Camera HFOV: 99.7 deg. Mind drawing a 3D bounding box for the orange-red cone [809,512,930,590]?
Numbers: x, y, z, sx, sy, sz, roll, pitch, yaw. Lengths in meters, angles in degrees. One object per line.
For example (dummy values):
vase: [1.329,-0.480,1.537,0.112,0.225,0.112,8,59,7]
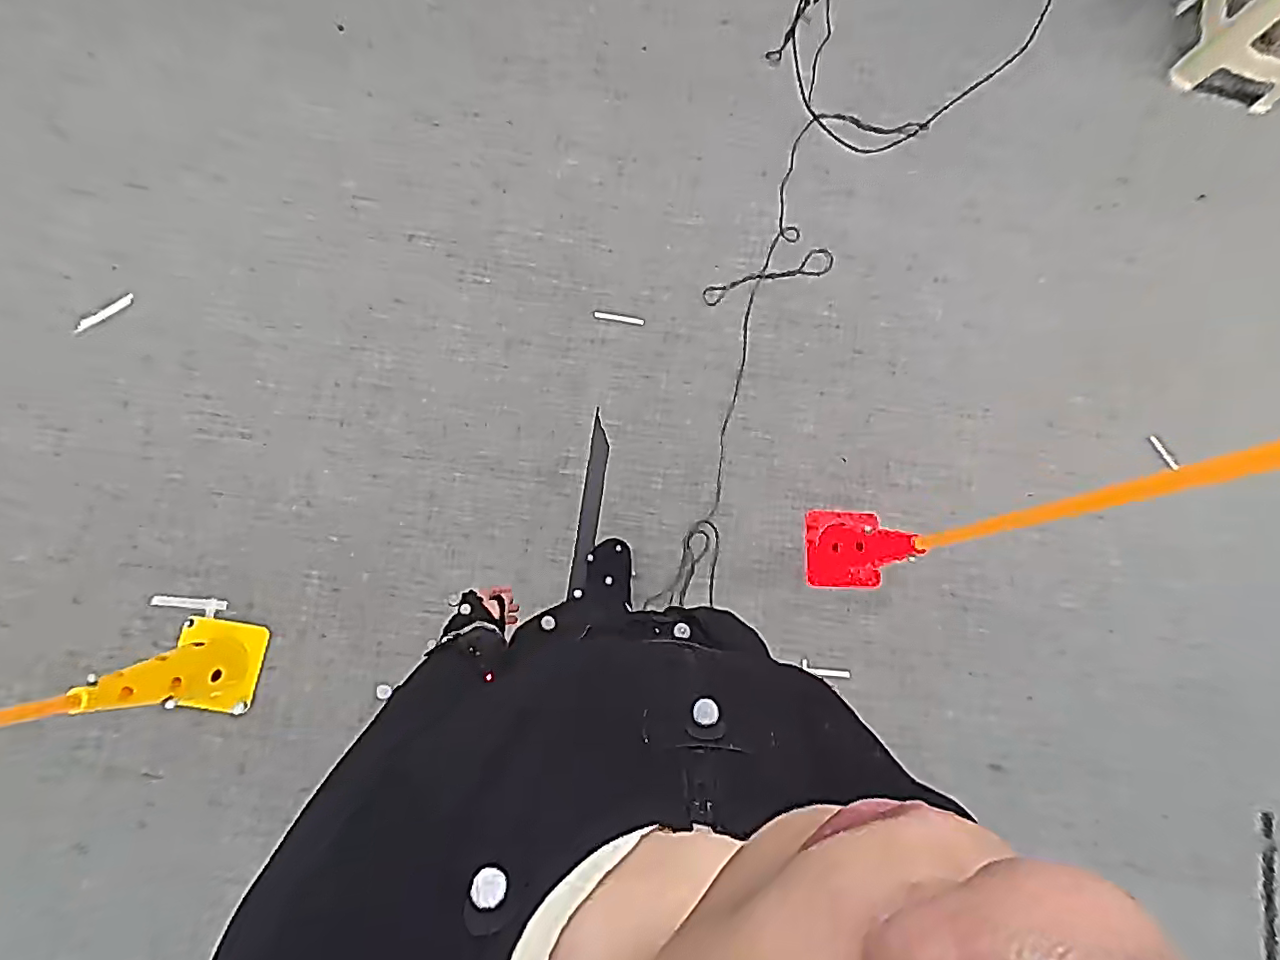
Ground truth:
orange-red cone: [0.548,0.156,1.245,0.199,0.360,0.198,3,80,-2]
